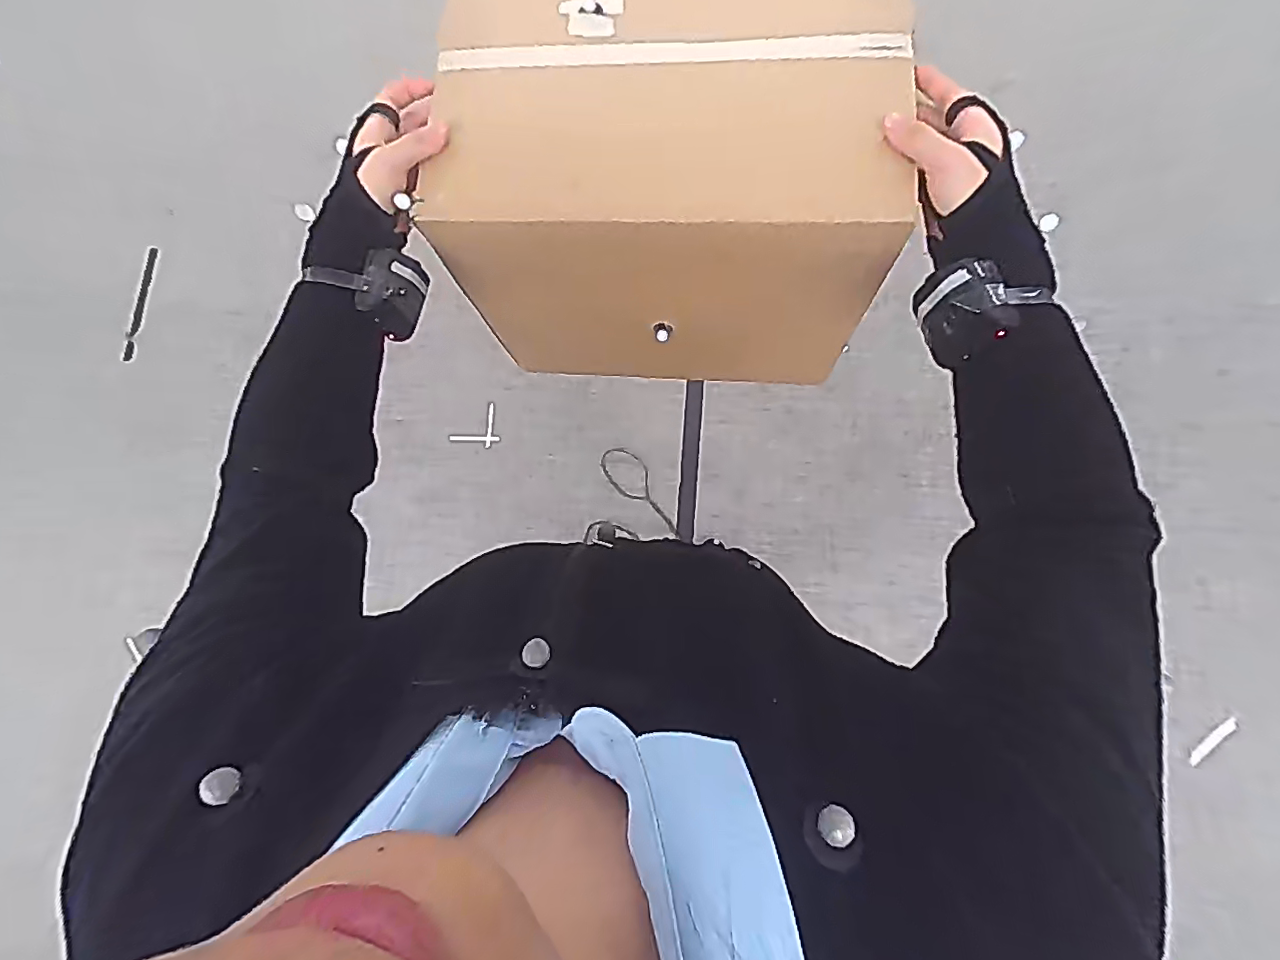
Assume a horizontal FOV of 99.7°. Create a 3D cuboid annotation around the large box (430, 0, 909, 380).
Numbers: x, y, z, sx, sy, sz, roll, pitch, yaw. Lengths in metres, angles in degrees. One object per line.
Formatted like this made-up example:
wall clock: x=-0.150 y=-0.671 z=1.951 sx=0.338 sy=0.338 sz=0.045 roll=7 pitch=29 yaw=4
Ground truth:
large box: x=0.039 y=-0.316 z=0.621 sx=0.408 sy=0.320 sz=0.320 roll=2 pitch=76 yaw=7
